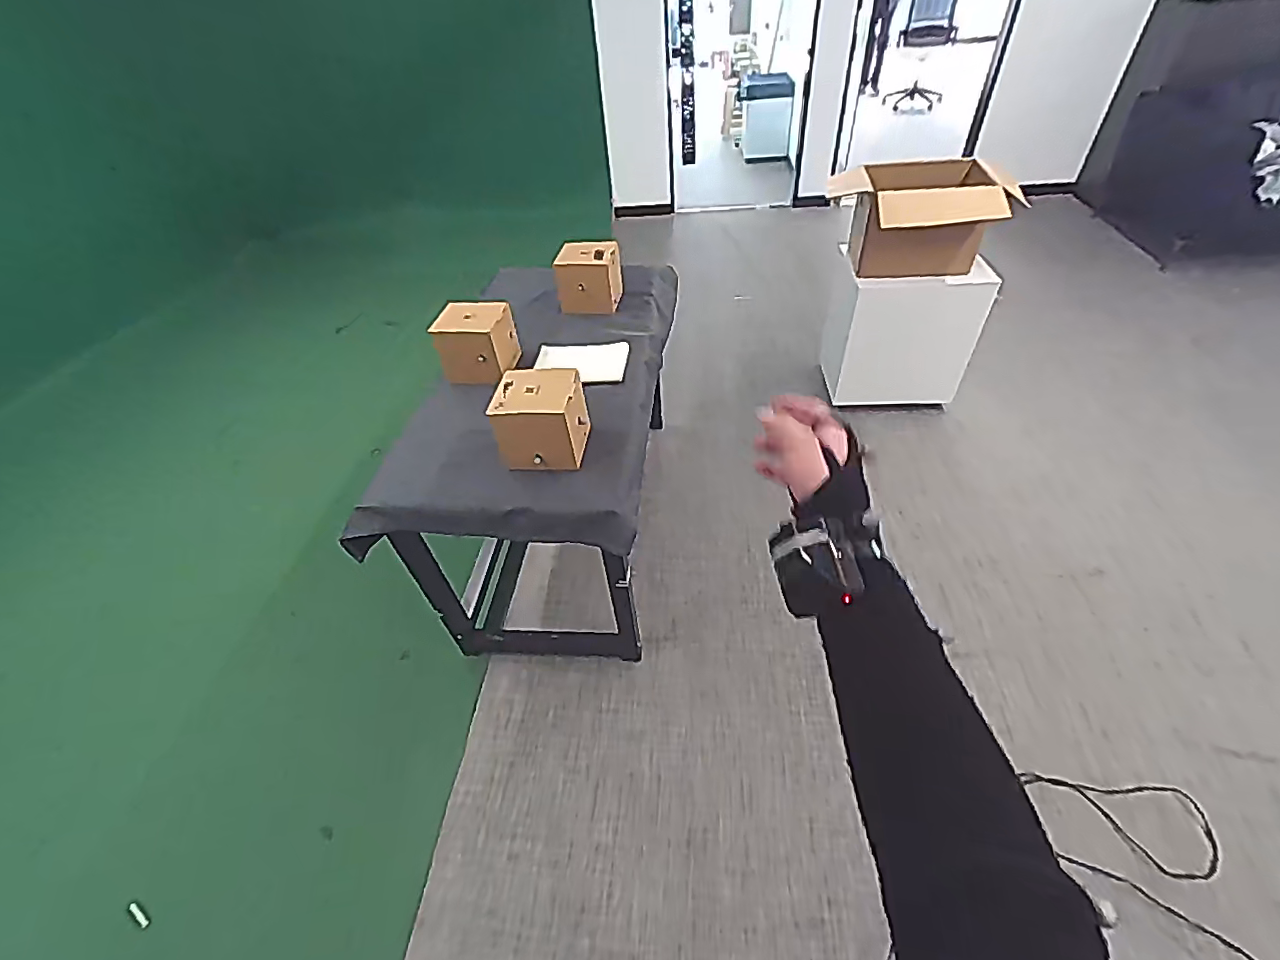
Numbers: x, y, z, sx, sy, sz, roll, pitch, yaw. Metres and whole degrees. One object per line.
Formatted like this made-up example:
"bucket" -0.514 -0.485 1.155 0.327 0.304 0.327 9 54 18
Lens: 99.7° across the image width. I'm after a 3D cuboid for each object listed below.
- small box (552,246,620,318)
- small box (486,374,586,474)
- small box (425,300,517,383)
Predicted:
"small box" -0.166 -0.639 1.749 0.179 0.176 0.168 3 45 9
"small box" -0.228 -0.127 1.243 0.179 0.176 0.168 1 44 7
"small box" -0.458 -0.382 1.501 0.179 0.176 0.168 1 44 8
